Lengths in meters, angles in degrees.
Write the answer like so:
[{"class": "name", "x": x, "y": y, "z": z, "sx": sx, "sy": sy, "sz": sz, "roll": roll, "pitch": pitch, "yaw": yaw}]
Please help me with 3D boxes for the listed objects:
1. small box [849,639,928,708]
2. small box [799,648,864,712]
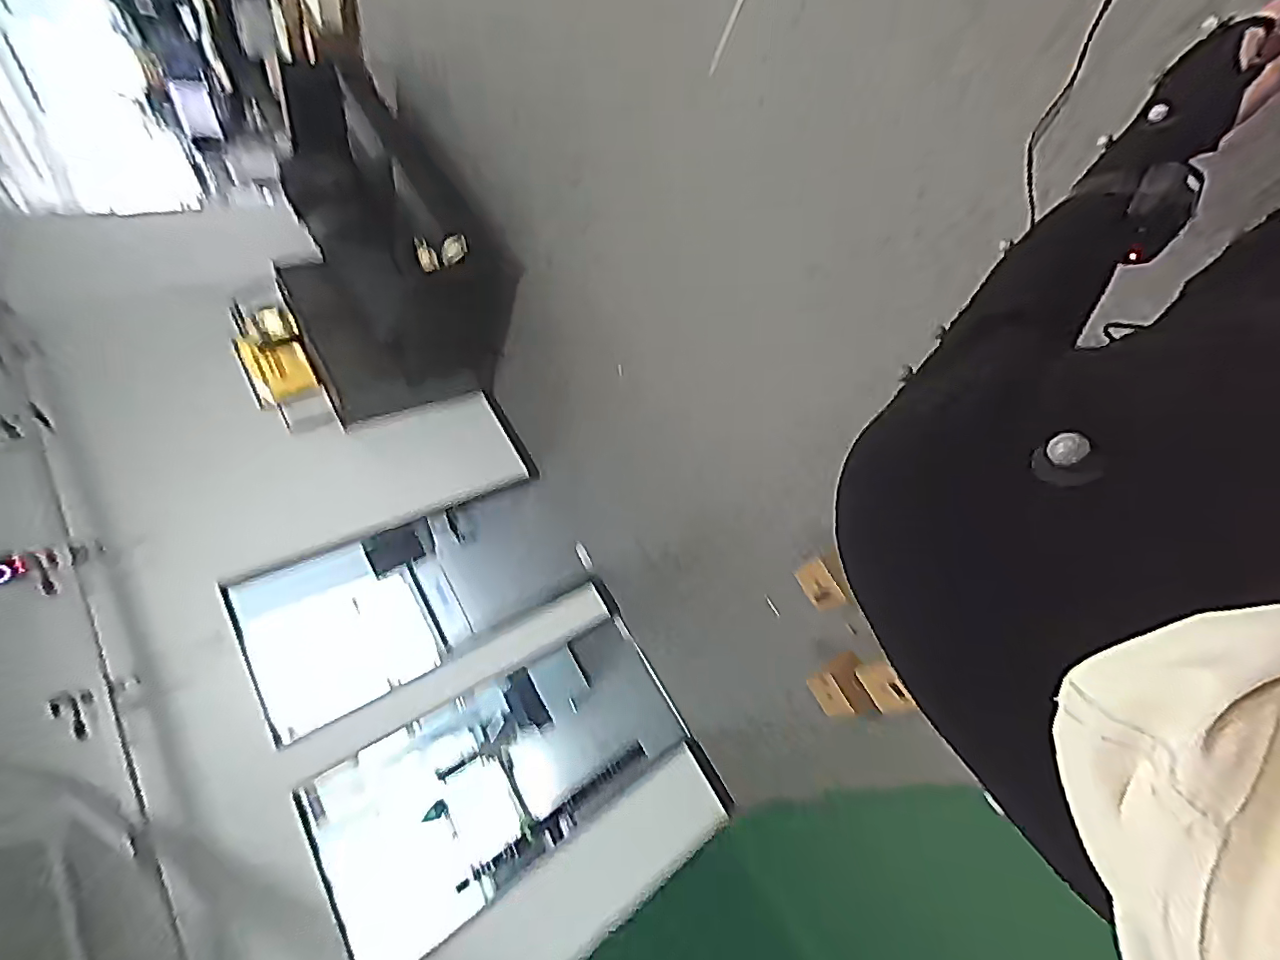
[{"class": "small box", "x": 0.912, "y": 0.700, "z": 1.967, "sx": 0.168, "sy": 0.176, "sz": 0.179, "roll": 59, "pitch": 146, "yaw": 14}, {"class": "small box", "x": 0.795, "y": 0.816, "z": 2.205, "sx": 0.179, "sy": 0.176, "sz": 0.168, "roll": 59, "pitch": 146, "yaw": 12}]
